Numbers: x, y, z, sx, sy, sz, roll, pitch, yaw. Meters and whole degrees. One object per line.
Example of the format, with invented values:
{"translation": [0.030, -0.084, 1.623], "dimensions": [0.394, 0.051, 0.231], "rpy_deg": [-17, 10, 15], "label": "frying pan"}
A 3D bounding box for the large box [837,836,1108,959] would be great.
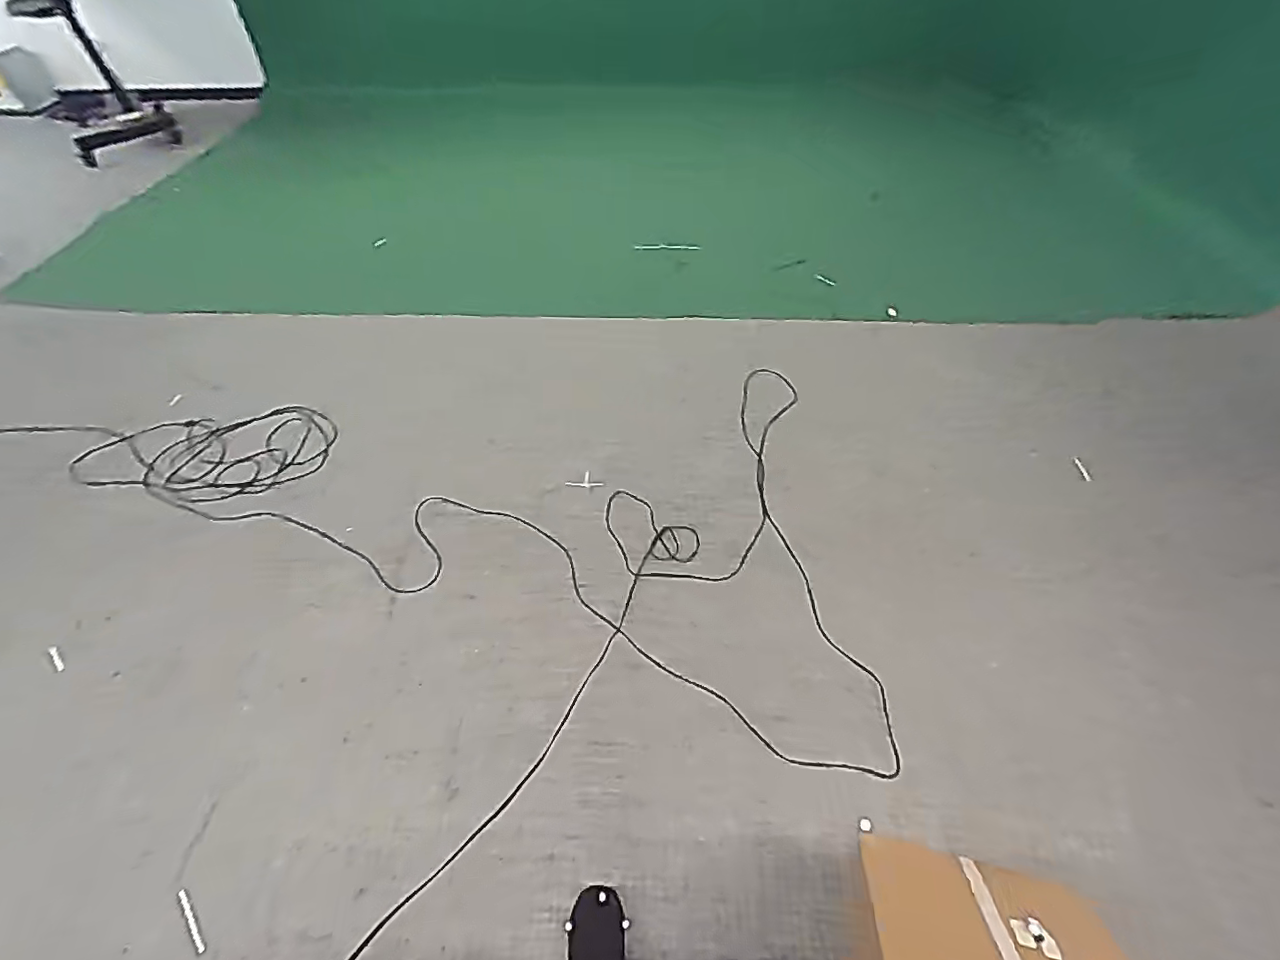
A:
{"translation": [0.433, 0.760, 0.676], "dimensions": [0.320, 0.408, 0.320], "rpy_deg": [9, 92, 14], "label": "large box"}
